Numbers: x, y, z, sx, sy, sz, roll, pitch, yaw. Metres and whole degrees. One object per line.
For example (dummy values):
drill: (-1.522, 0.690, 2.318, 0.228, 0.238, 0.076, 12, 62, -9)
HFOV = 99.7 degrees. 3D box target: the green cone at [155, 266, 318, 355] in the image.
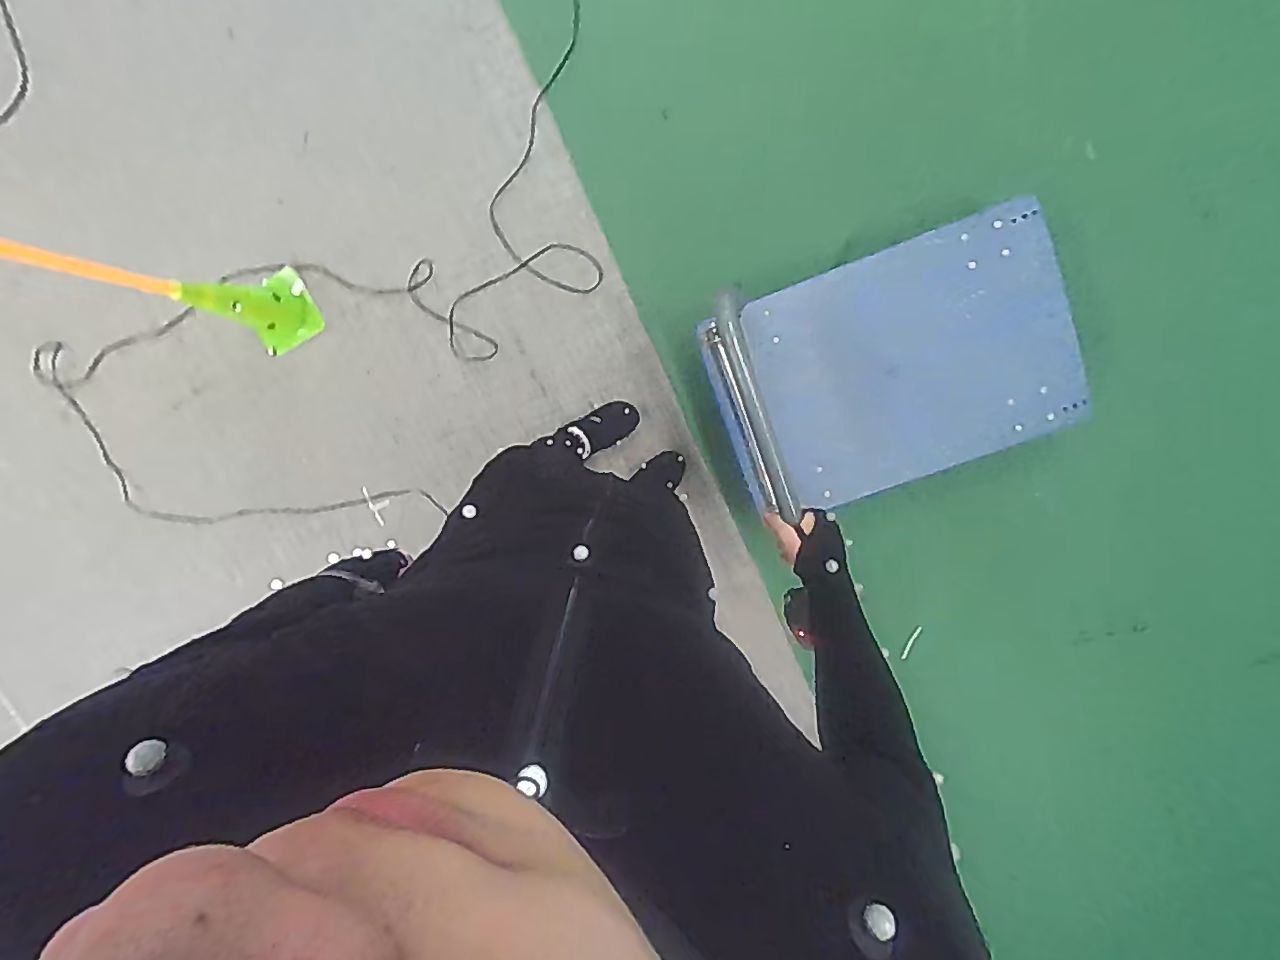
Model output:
green cone: (-1.073, -0.469, 1.411, 0.200, 0.368, 0.202, -28, 95, 7)
